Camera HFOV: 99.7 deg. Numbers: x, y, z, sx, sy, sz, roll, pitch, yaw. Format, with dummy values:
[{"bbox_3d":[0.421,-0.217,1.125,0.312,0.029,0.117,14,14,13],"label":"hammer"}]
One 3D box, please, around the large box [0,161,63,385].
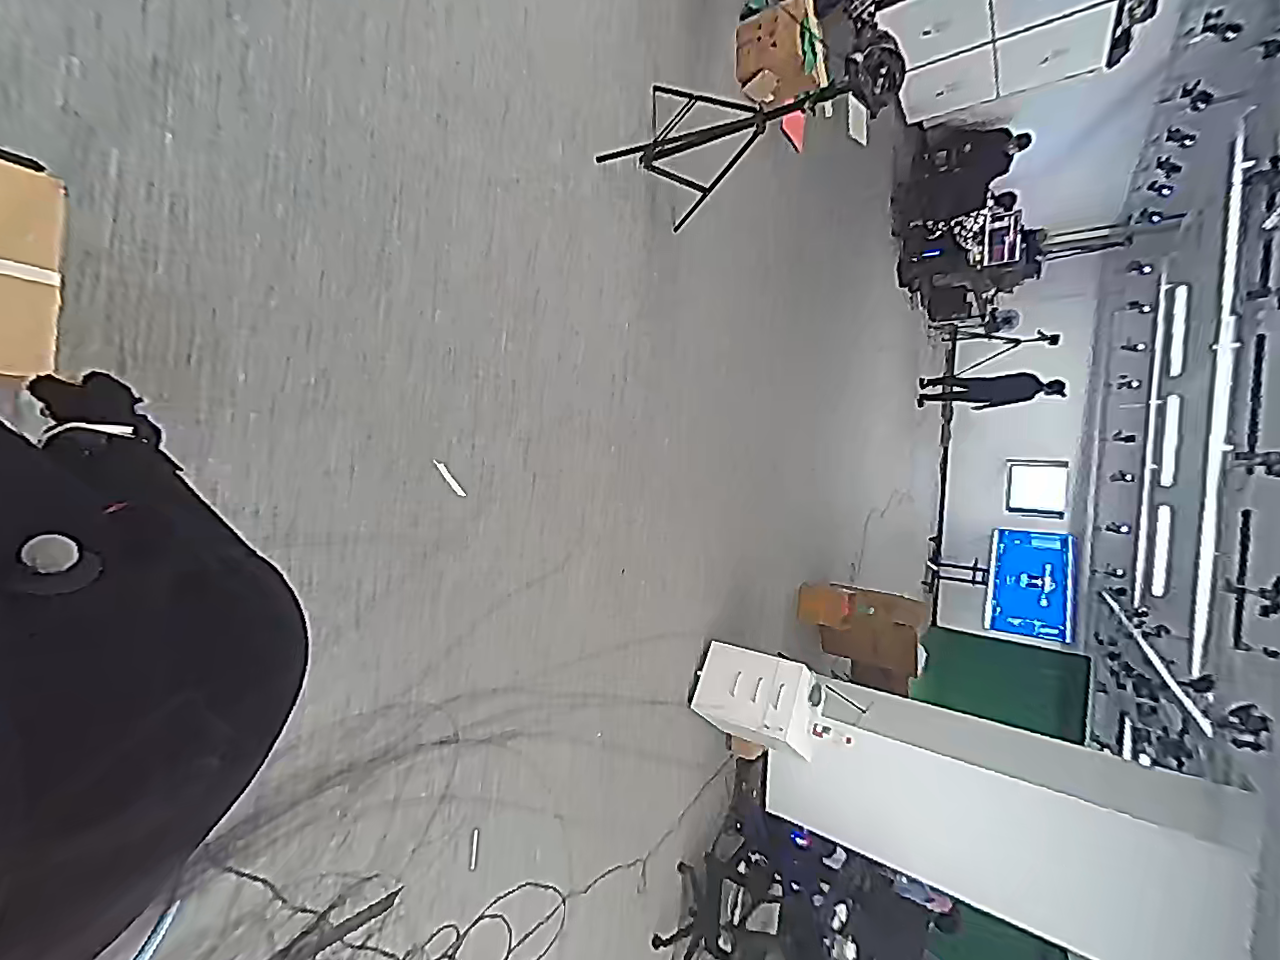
[{"bbox_3d":[-1.147,-0.326,0.768,0.408,0.320,0.320,4,91,-55],"label":"large box"}]
